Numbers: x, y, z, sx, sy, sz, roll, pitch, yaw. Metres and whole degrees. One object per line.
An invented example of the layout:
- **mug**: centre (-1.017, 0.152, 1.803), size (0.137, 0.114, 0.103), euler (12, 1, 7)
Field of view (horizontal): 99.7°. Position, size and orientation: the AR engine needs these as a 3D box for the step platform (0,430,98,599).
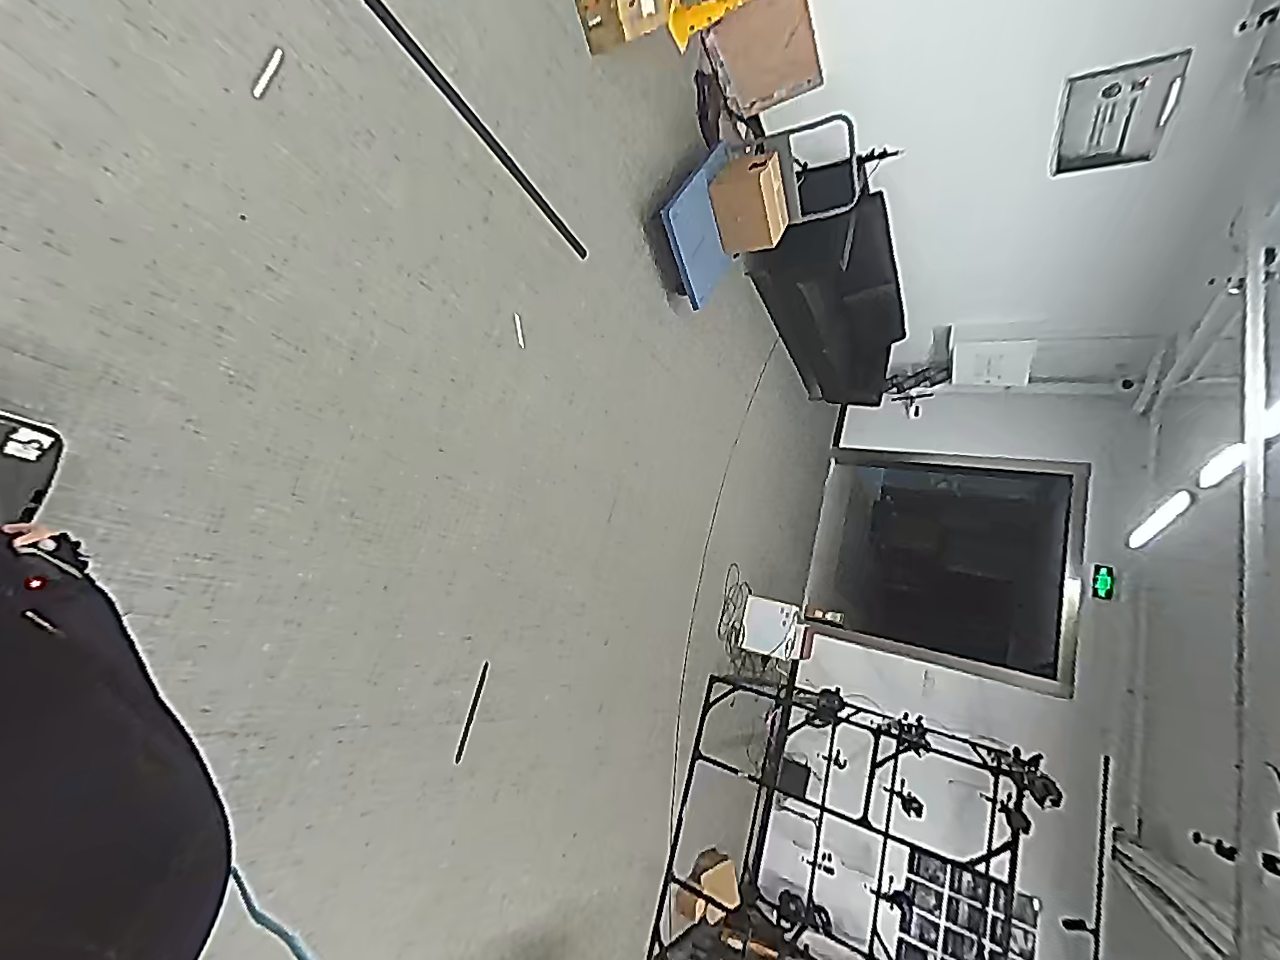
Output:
- **step platform**: centre (-1.291, -0.040, 0.800), size (0.684, 0.204, 0.286), euler (43, 60, -52)
